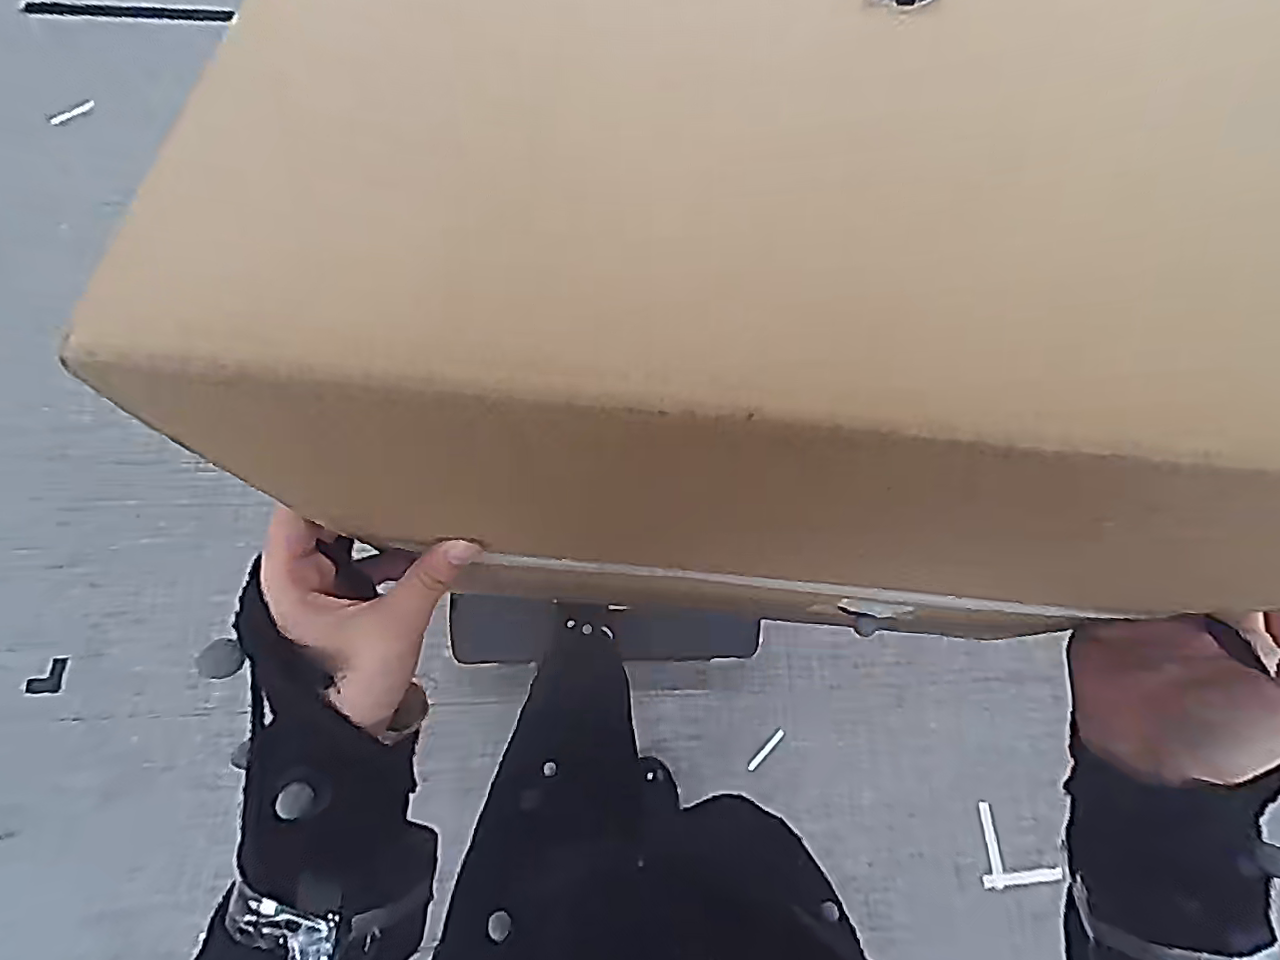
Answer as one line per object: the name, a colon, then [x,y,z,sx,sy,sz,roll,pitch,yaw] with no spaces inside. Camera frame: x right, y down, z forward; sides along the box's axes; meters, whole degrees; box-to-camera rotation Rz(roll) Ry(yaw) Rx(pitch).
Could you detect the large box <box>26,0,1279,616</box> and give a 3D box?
large box: [0.055,-0.105,0.315,0.408,0.320,0.320,4,71,-1]
